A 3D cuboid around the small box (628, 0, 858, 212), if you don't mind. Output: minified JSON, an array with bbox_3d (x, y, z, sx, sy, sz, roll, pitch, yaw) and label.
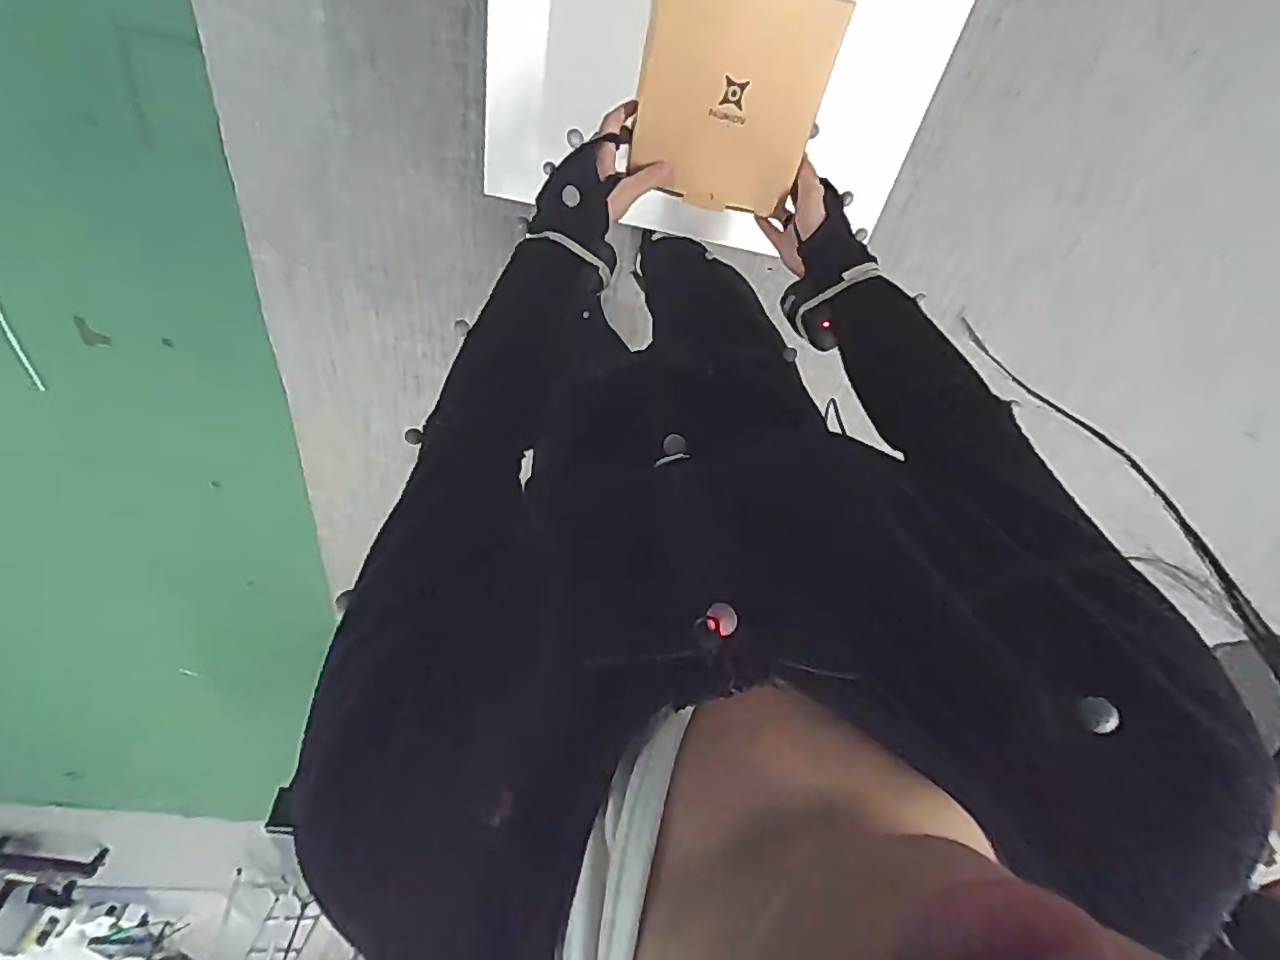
[{"bbox_3d":[0.082,-0.397,0.543,0.168,0.176,0.179,10,127,-8],"label":"small box"}]
